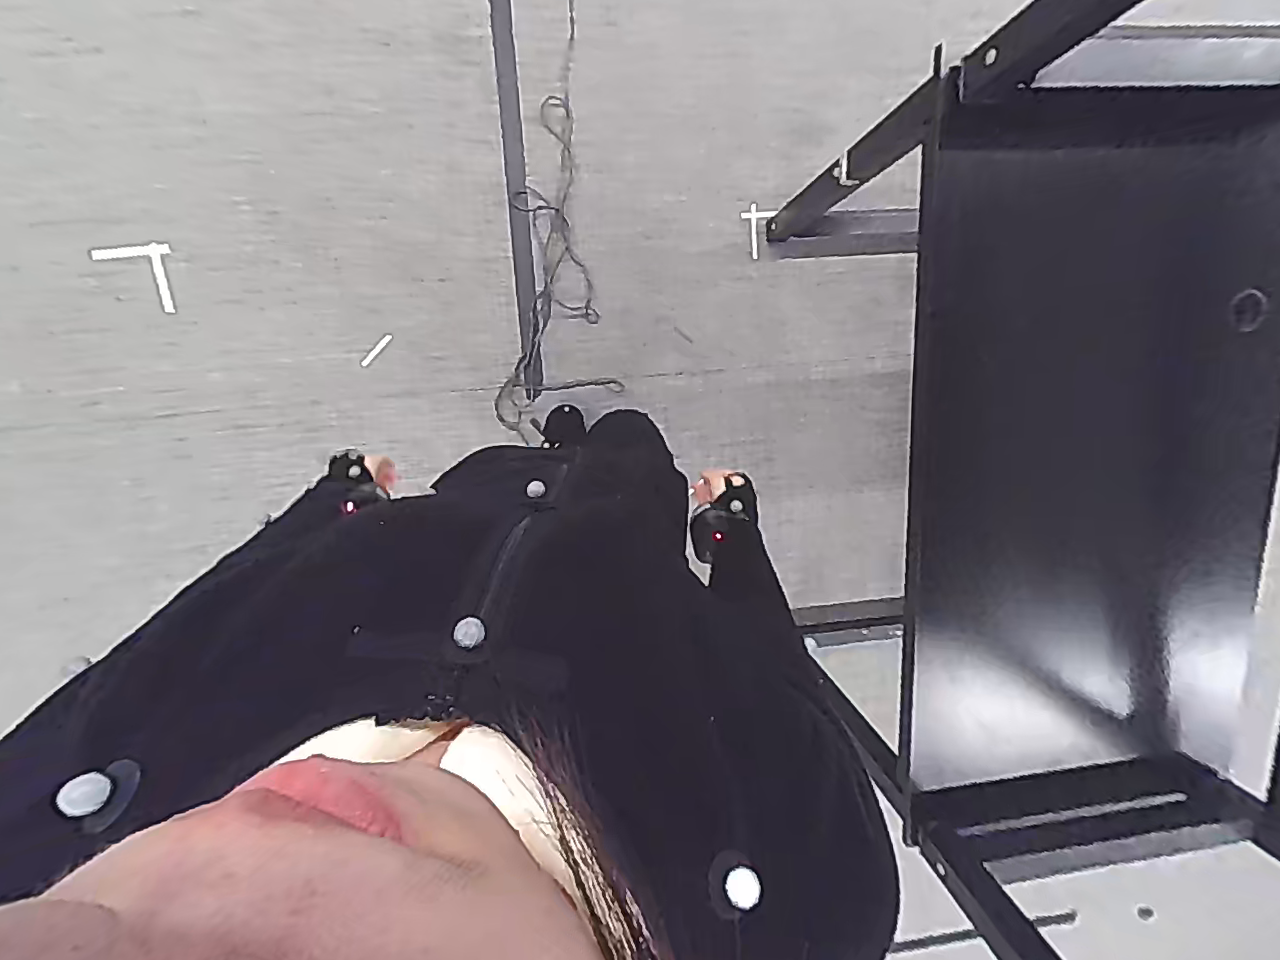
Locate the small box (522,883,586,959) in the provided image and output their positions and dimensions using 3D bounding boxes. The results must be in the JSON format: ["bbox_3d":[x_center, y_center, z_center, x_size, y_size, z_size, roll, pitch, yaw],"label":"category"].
[{"bbox_3d":[-0.256,1.360,1.632,0.179,0.176,0.168,1,100,-5],"label":"small box"}]
